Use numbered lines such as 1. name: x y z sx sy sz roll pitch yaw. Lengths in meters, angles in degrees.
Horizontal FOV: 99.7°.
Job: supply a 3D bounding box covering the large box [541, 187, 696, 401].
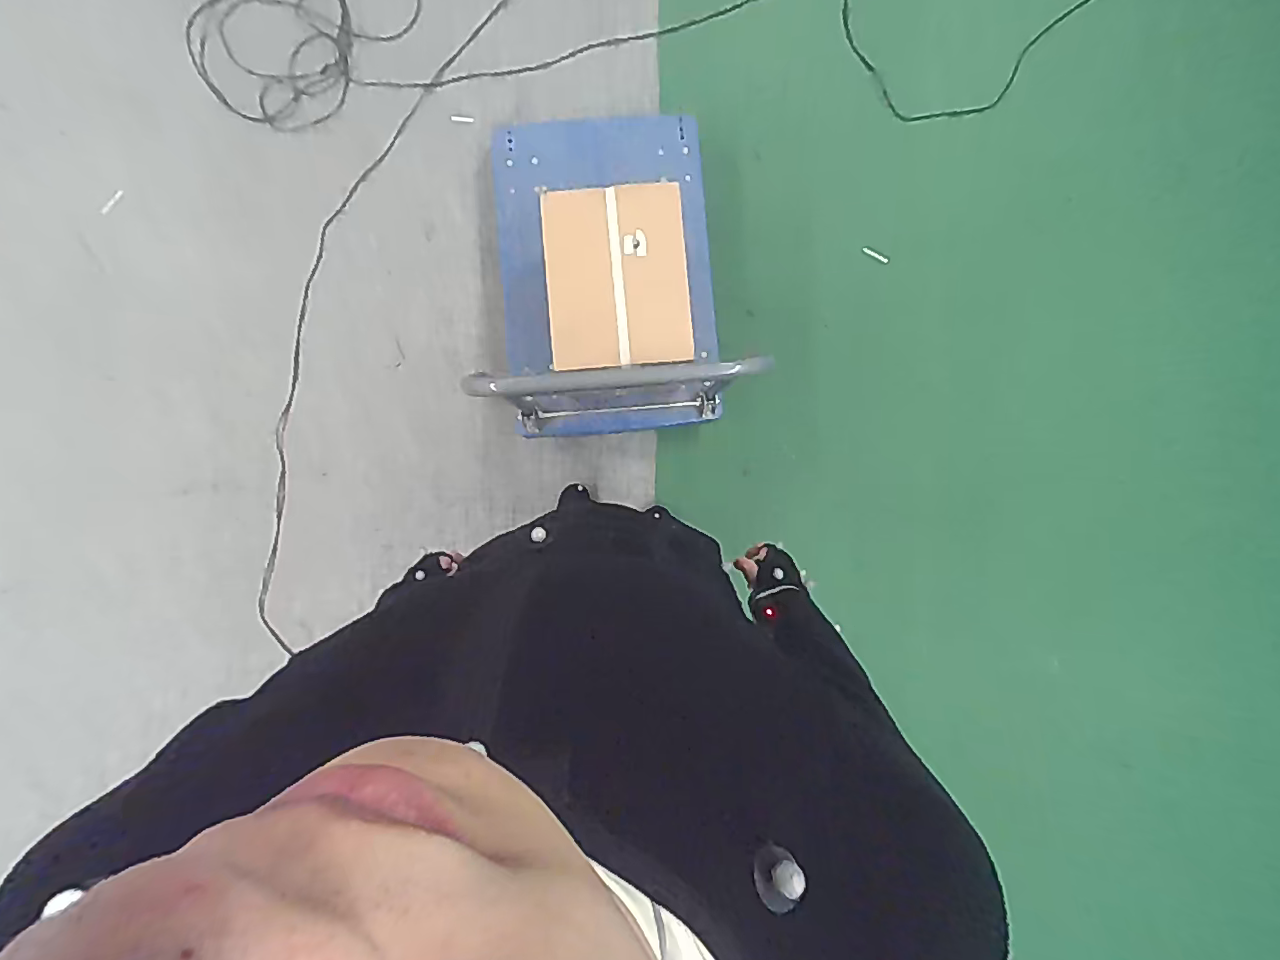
1. large box: -0.050 -0.434 1.341 0.320 0.320 0.408 -5 87 -2
